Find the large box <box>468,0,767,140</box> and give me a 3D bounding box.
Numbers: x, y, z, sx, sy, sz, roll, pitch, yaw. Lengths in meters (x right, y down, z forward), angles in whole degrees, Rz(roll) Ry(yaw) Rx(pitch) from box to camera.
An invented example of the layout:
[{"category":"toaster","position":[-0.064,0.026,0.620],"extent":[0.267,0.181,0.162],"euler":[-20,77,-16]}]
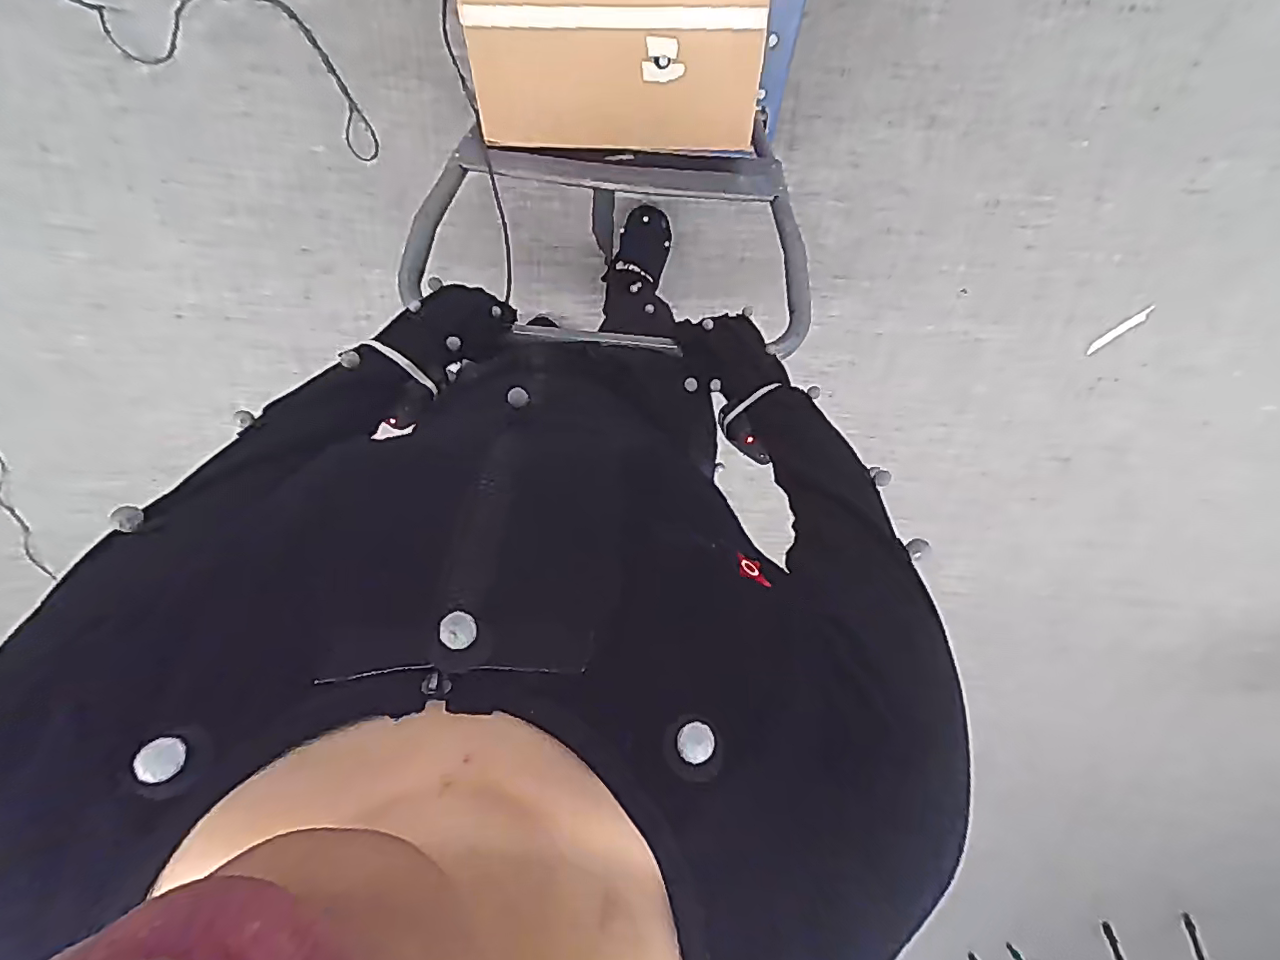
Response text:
[{"category":"large box","position":[-0.031,-0.738,0.816],"extent":[0.408,0.320,0.320],"euler":[1,139,0]}]
